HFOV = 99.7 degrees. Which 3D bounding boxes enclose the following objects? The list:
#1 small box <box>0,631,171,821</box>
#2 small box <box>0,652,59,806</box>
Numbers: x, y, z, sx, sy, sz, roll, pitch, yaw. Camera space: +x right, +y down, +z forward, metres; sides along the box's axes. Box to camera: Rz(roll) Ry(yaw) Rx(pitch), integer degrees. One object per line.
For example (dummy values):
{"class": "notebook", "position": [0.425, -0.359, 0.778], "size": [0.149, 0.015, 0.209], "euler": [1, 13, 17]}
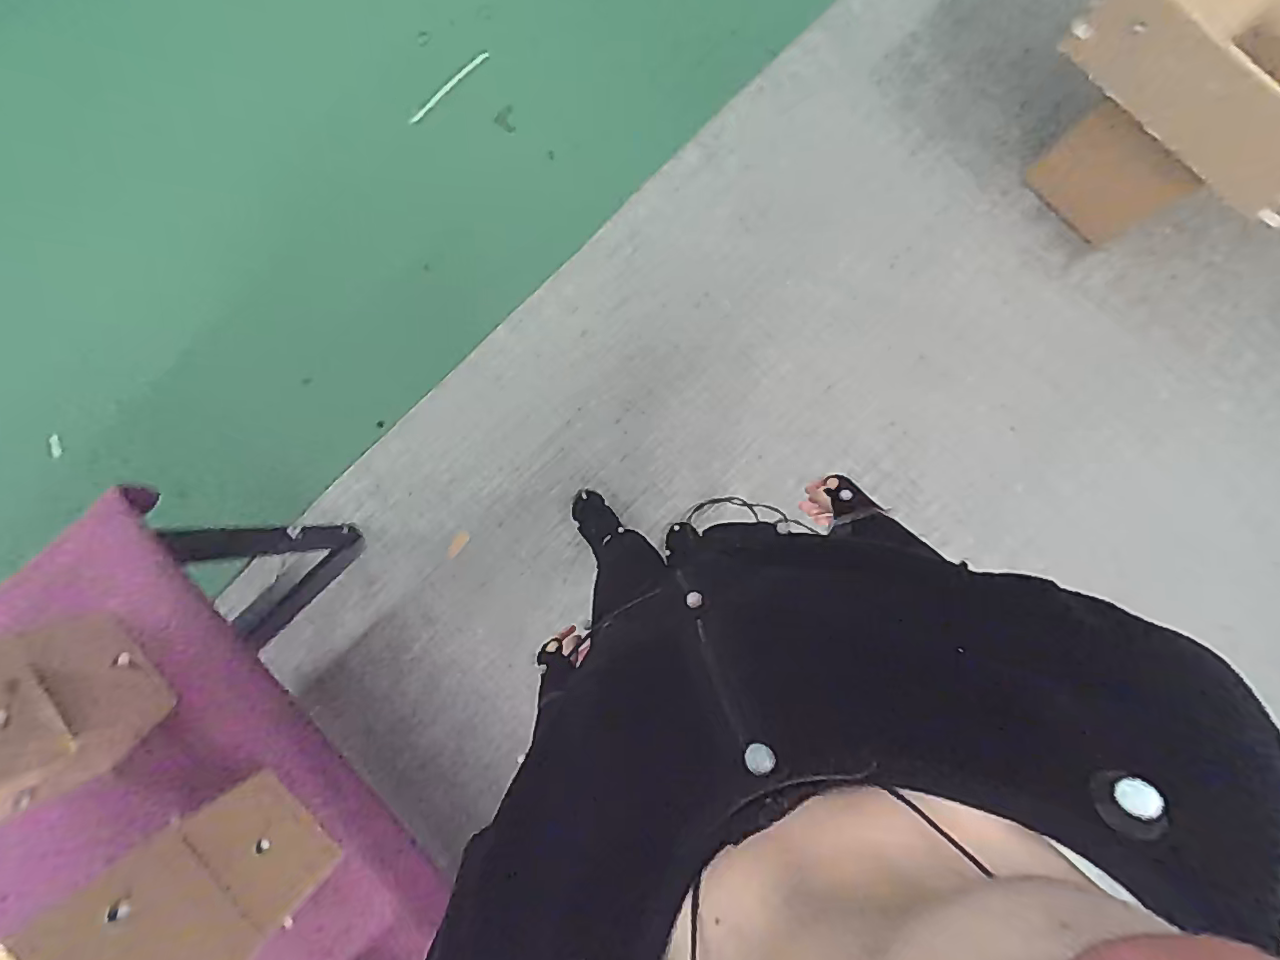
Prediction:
{"class": "small box", "position": [-0.810, 0.326, 0.730], "size": [0.168, 0.176, 0.179], "euler": [-44, 85, 0]}
{"class": "small box", "position": [-0.797, 0.309, 0.565], "size": [0.179, 0.176, 0.168], "euler": [-36, 85, -1]}
